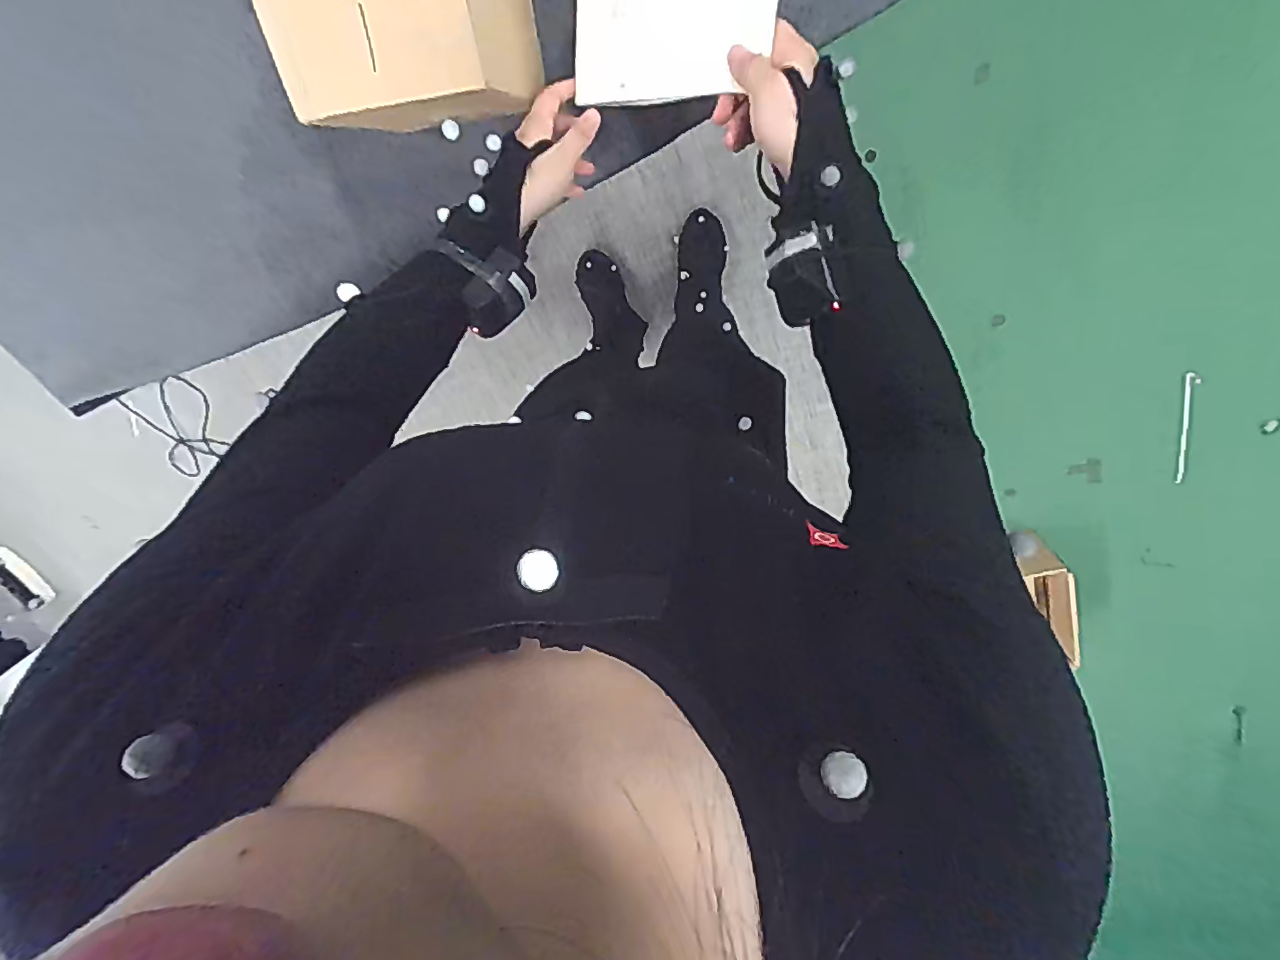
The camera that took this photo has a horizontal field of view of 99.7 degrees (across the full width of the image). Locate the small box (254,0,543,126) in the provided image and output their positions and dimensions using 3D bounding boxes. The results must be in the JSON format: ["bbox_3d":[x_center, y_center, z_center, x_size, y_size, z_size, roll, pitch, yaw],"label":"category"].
[{"bbox_3d":[-0.195,-0.409,0.446,0.168,0.176,0.179,-2,121,11],"label":"small box"}]
